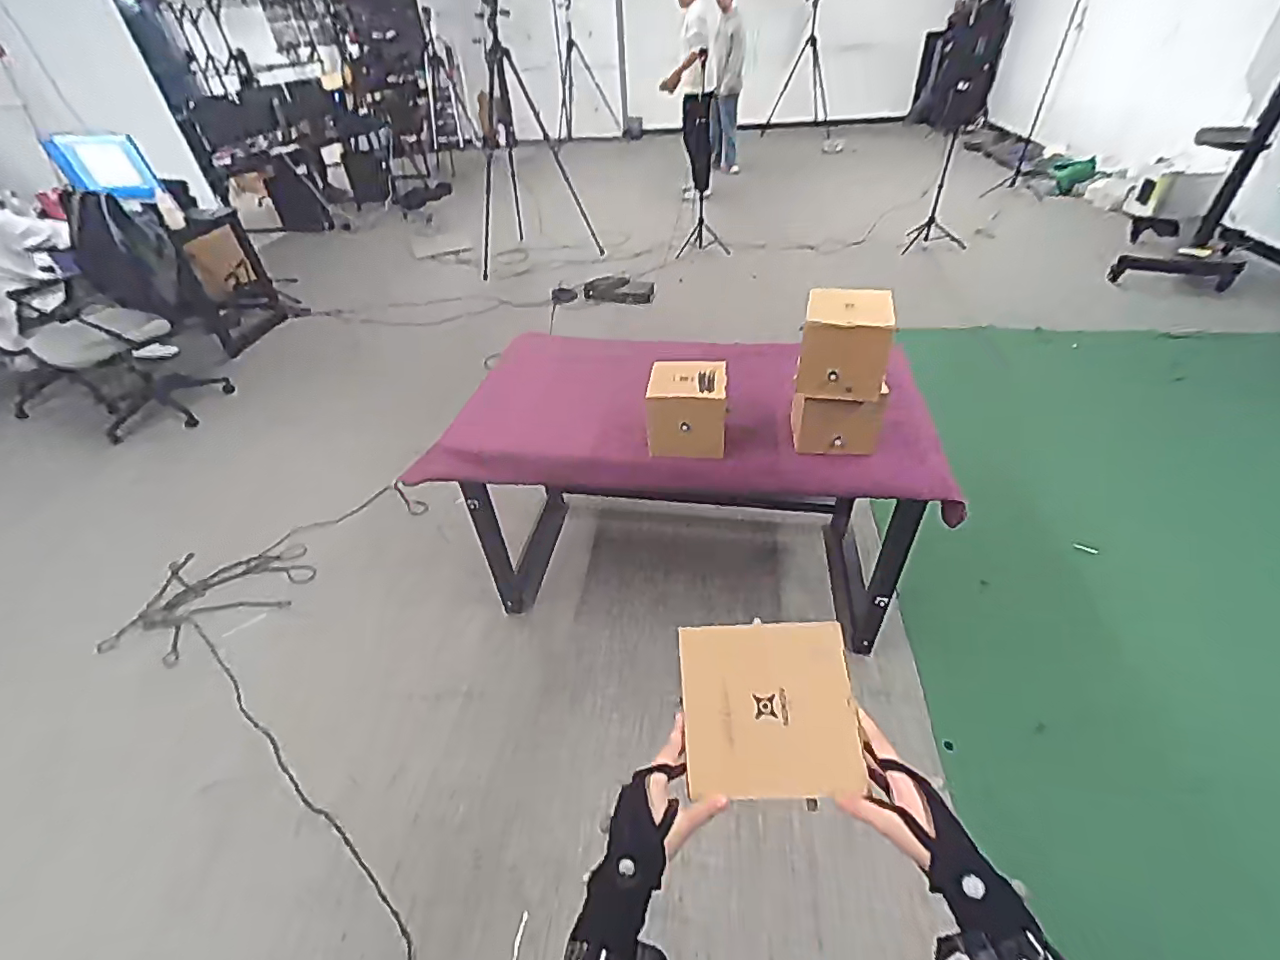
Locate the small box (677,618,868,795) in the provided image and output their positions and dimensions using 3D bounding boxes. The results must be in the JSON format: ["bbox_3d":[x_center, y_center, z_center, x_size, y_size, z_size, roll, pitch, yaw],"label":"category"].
[{"bbox_3d":[0.132,0.258,0.614,0.179,0.176,0.168,-3,62,4],"label":"small box"}]

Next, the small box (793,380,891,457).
[{"bbox_3d":[0.457,-0.166,1.251,0.179,0.176,0.168,2,39,9],"label":"small box"}]

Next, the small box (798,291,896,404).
[{"bbox_3d":[0.428,-0.280,1.136,0.168,0.176,0.179,7,42,16],"label":"small box"}]
